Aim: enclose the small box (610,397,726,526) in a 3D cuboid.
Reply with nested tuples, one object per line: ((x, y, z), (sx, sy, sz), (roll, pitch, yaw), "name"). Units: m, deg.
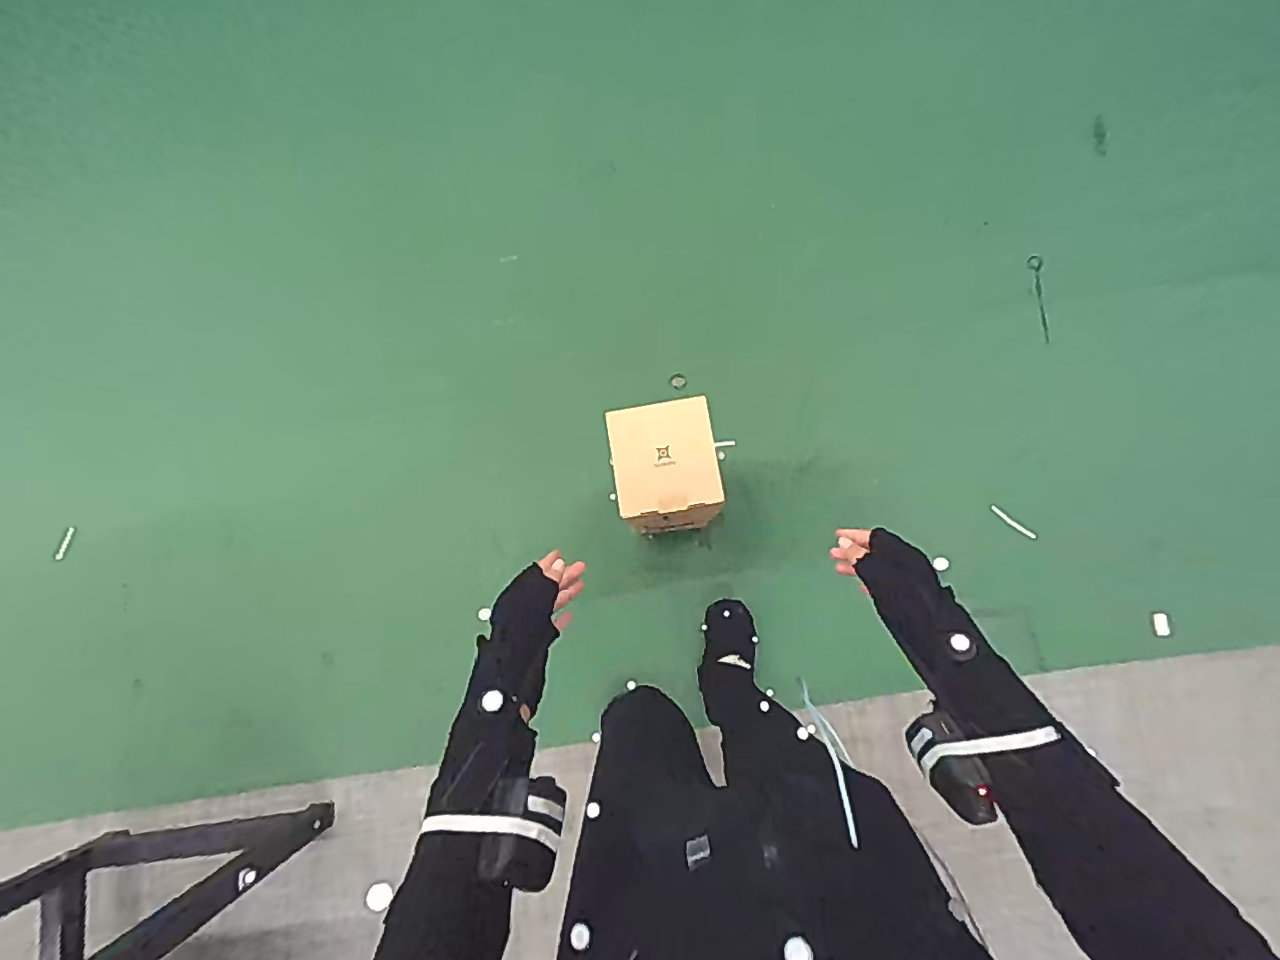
((0.046, -0.024, 0.933), (0.168, 0.176, 0.179), (-10, 81, 2), "small box")

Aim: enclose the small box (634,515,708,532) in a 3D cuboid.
((0.066, 0.027, 1.256), (0.168, 0.176, 0.179), (-7, 81, 3), "small box")
